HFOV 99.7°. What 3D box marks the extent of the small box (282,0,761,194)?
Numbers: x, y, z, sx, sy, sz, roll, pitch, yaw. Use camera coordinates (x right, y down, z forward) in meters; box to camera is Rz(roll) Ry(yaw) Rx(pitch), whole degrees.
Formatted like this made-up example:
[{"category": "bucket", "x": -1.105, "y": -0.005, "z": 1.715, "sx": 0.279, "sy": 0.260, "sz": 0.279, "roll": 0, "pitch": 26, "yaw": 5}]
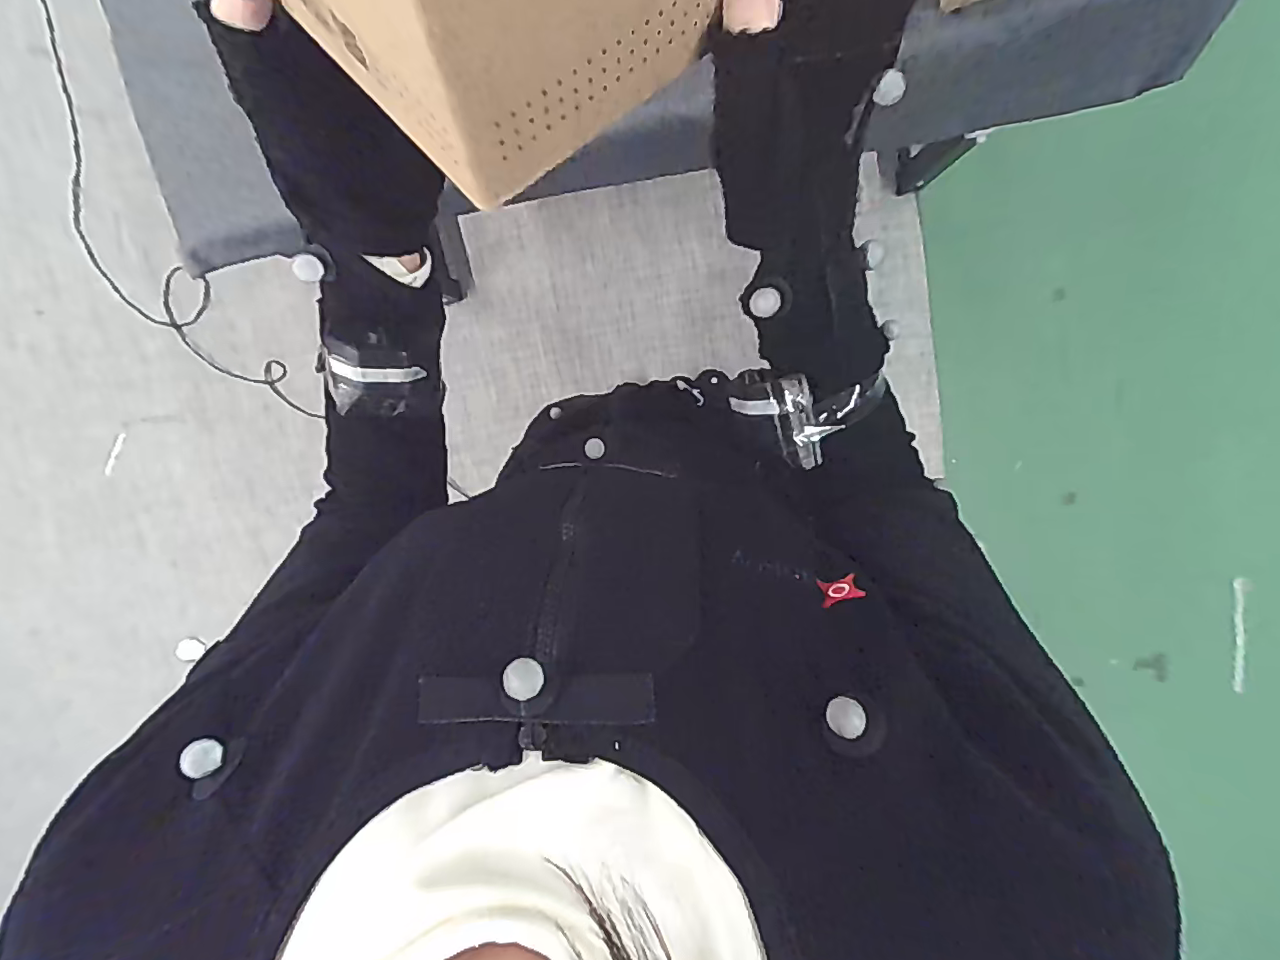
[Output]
[{"category": "small box", "x": -0.043, "y": -0.232, "z": 0.148, "sx": 0.179, "sy": 0.176, "sz": 0.168, "roll": -44, "pitch": 83, "yaw": -9}]
